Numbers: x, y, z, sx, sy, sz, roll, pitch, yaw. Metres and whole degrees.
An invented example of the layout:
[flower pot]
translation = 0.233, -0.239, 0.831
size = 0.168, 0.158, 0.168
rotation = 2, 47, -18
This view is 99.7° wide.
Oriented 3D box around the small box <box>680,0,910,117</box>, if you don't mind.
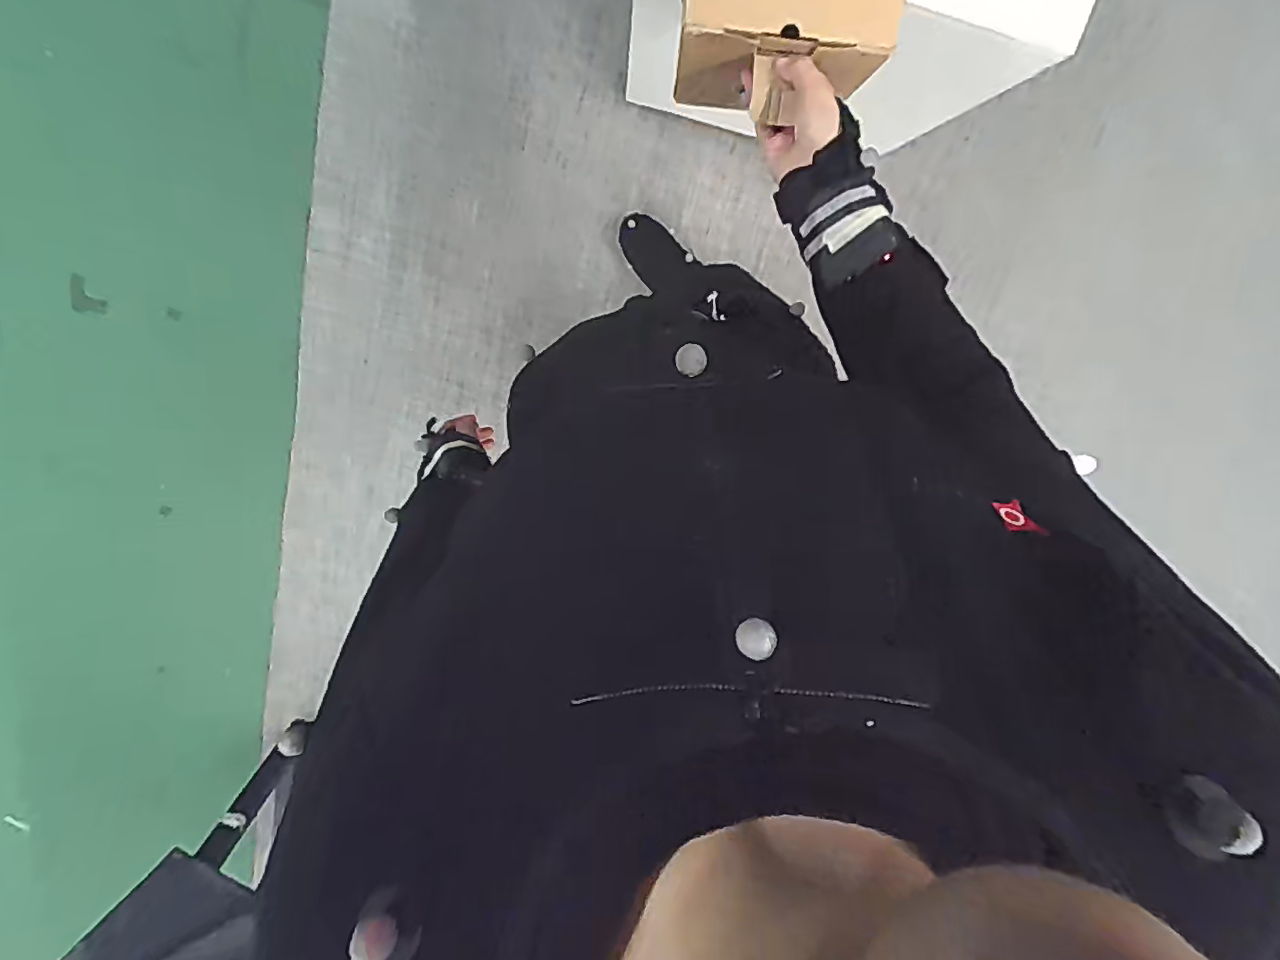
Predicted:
[small box]
translation = 0.128, -0.444, 0.461
size = 0.168, 0.176, 0.179
rotation = 6, 109, -1
